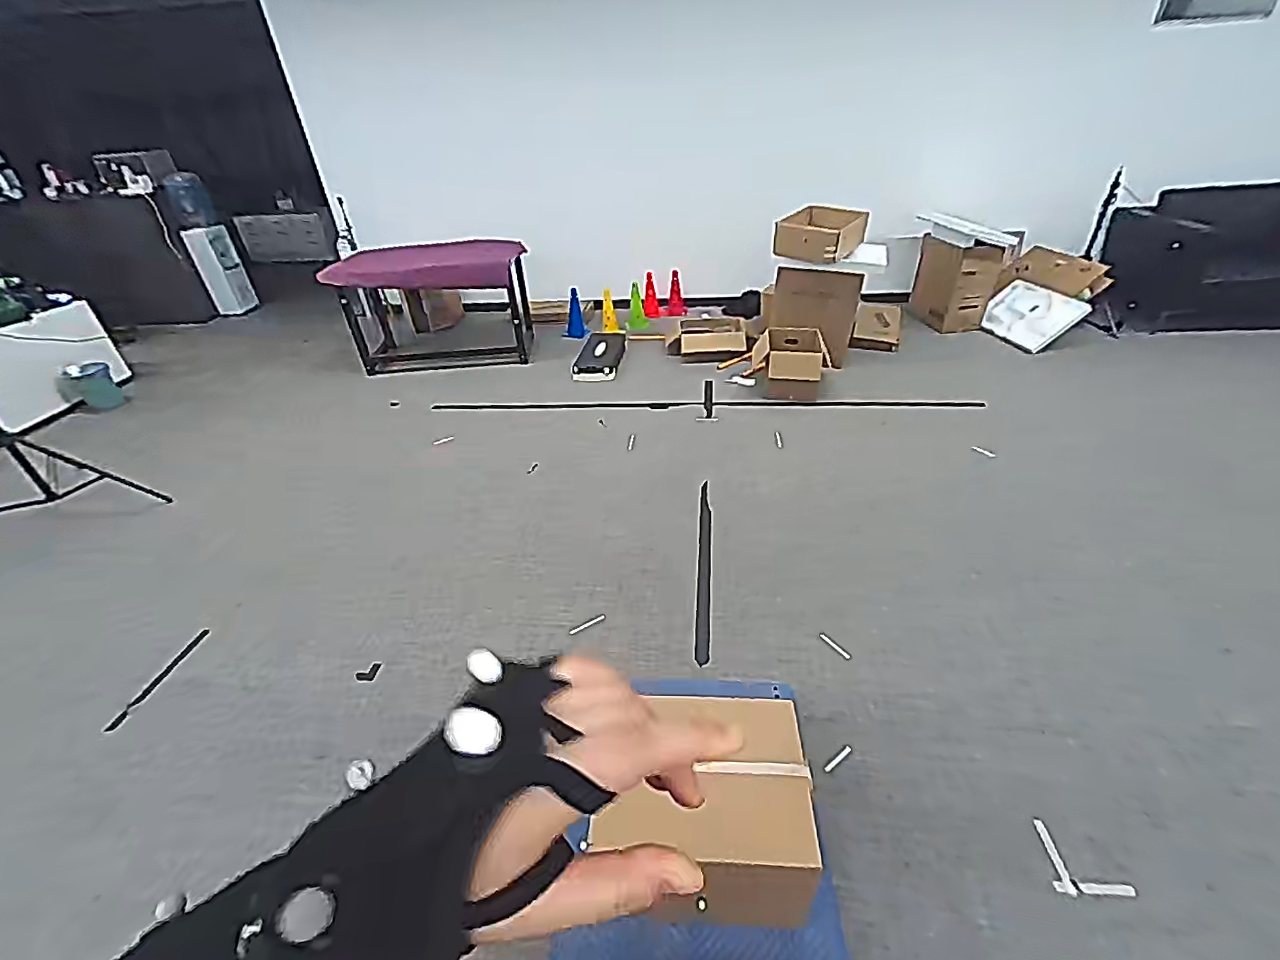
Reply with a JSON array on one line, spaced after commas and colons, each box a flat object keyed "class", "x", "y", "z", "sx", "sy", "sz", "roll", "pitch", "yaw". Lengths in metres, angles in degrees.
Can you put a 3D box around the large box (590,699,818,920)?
[{"class": "large box", "x": 0.127, "y": 0.689, "z": 1.141, "sx": 0.408, "sy": 0.320, "sz": 0.320, "roll": -1, "pitch": 34, "yaw": 5}]
